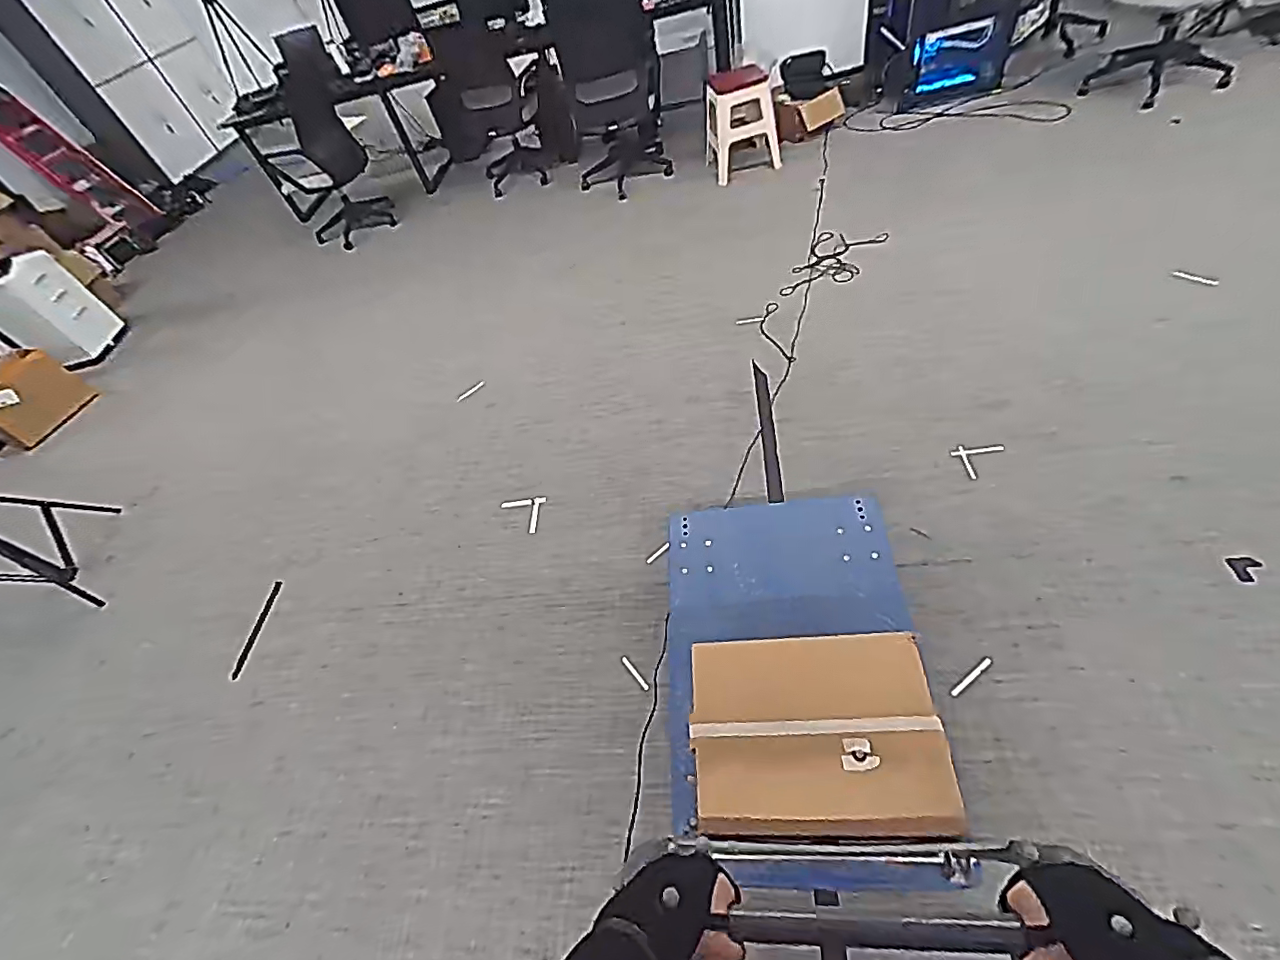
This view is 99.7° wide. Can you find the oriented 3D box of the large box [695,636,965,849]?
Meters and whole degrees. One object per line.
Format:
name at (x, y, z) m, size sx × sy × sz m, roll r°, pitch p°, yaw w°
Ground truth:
large box at (0.328, 0.520, 1.052) m, size 0.408 × 0.320 × 0.320 m, roll -6°, pitch 53°, yaw 10°
